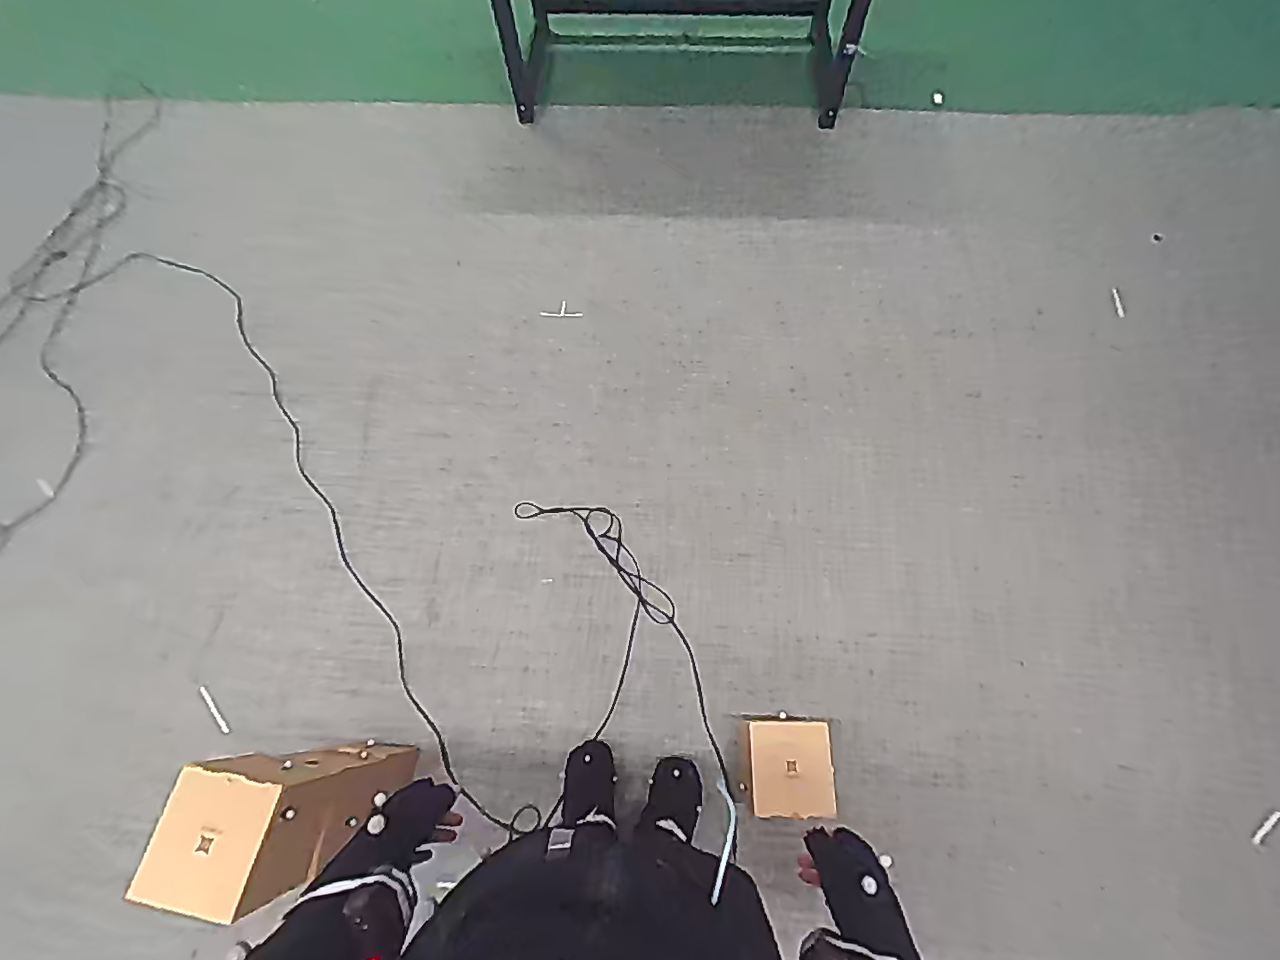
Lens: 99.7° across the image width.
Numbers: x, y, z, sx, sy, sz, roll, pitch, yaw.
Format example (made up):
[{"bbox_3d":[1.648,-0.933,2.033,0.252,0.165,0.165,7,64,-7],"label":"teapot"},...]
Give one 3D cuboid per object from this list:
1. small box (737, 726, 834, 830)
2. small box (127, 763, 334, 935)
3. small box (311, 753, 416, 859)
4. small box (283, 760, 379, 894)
[{"bbox_3d":[0.306,0.634,1.167,0.168,0.176,0.179,1,67,1],"label":"small box"},{"bbox_3d":[-0.629,0.569,0.860,0.168,0.176,0.179,9,68,5],"label":"small box"},{"bbox_3d":[-0.608,0.692,1.165,0.168,0.176,0.179,1,66,5],"label":"small box"},{"bbox_3d":[-0.617,0.633,1.009,0.168,0.176,0.179,5,69,3],"label":"small box"}]
